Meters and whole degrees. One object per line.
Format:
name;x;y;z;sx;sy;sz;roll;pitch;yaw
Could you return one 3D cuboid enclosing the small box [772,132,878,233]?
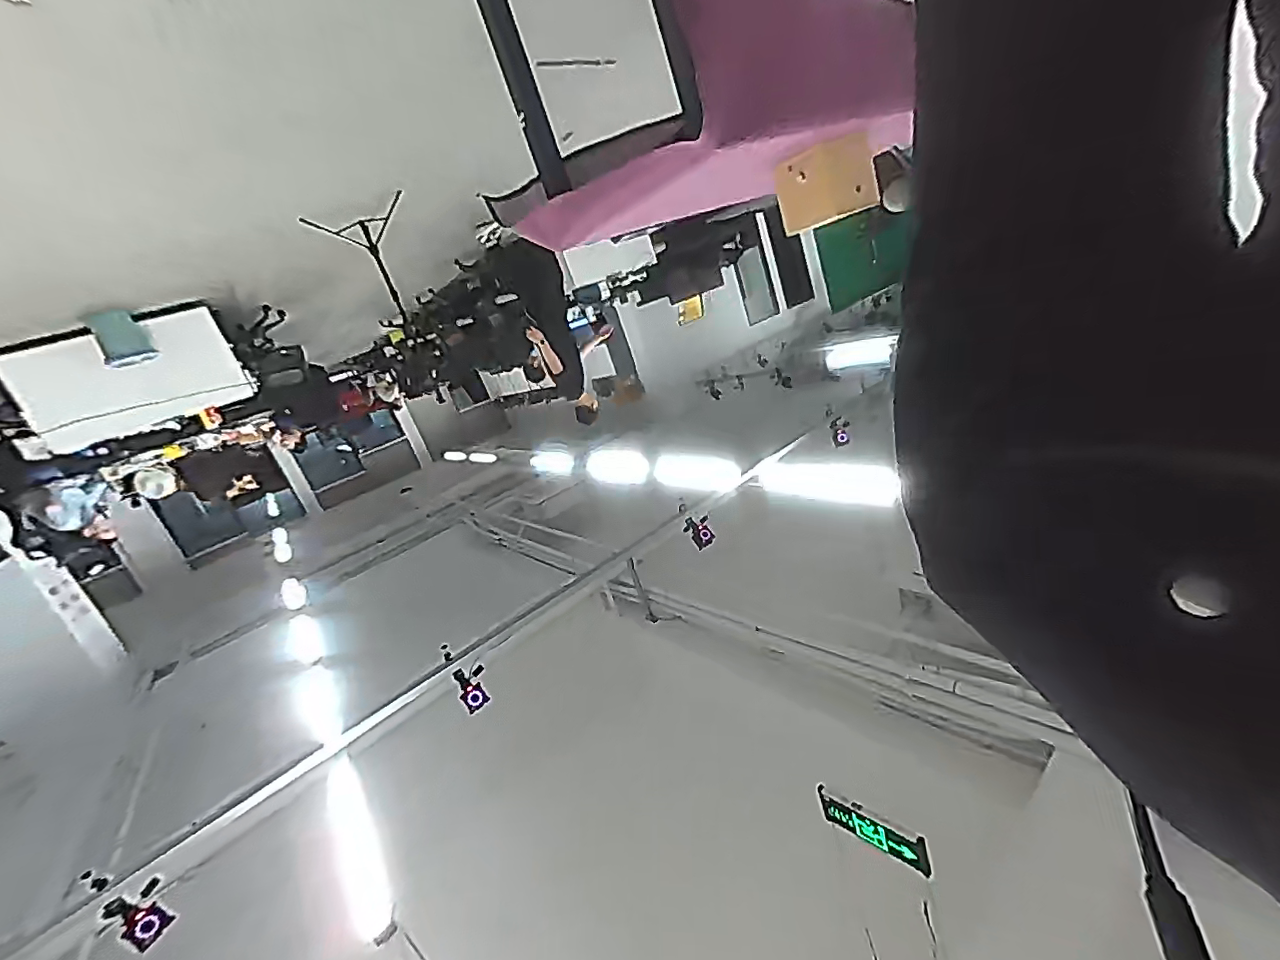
small box;0.461;-0.744;1.351;0.179;0.176;0.168;-28;-161;-26
